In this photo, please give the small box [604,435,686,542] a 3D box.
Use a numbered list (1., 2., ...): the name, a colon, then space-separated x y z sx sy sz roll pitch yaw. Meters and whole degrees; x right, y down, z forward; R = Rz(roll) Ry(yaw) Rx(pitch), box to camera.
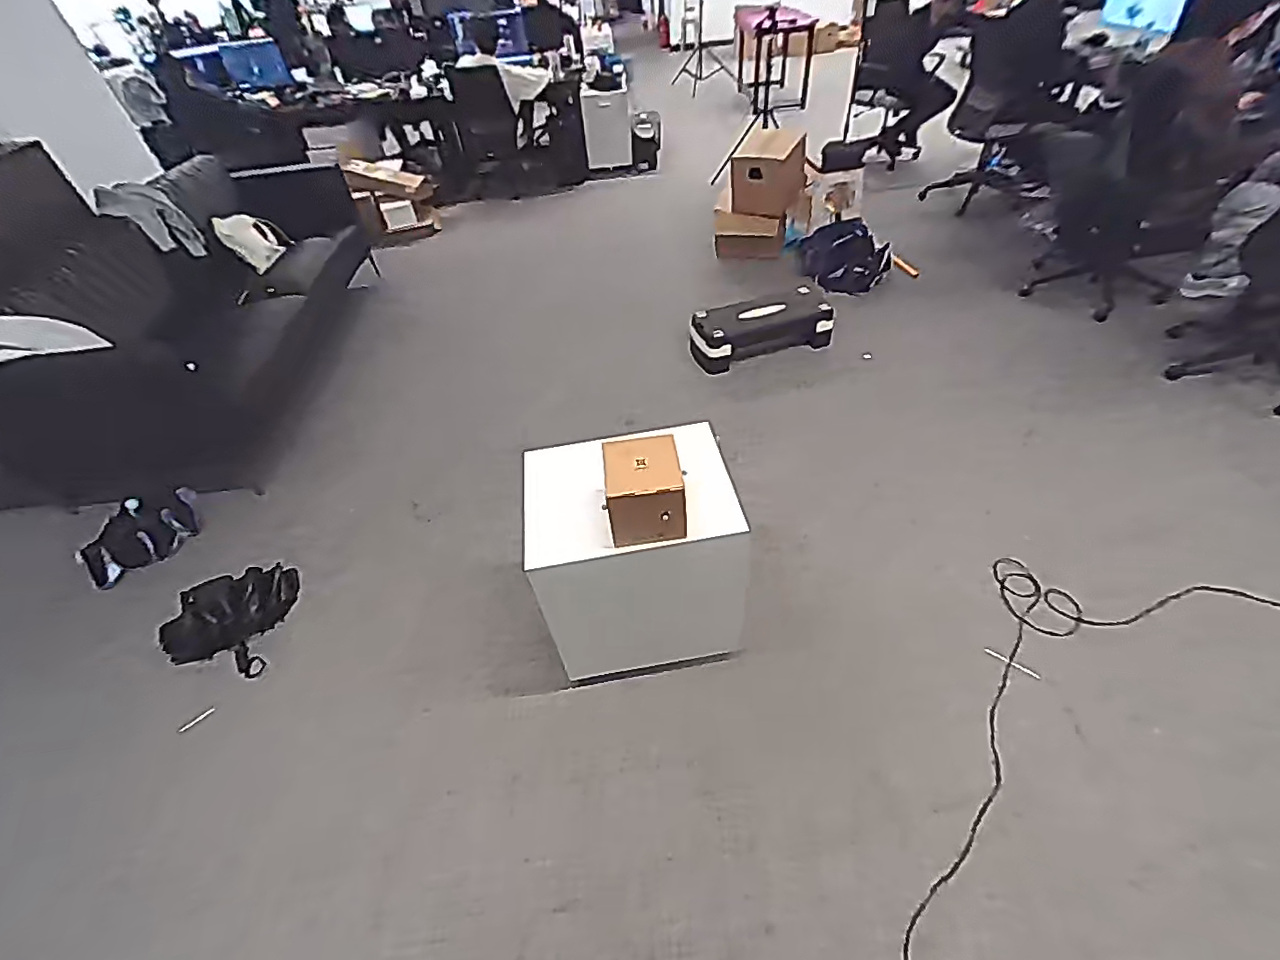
1. small box: 0.012 0.025 1.215 0.168 0.176 0.179 -6 43 -2
